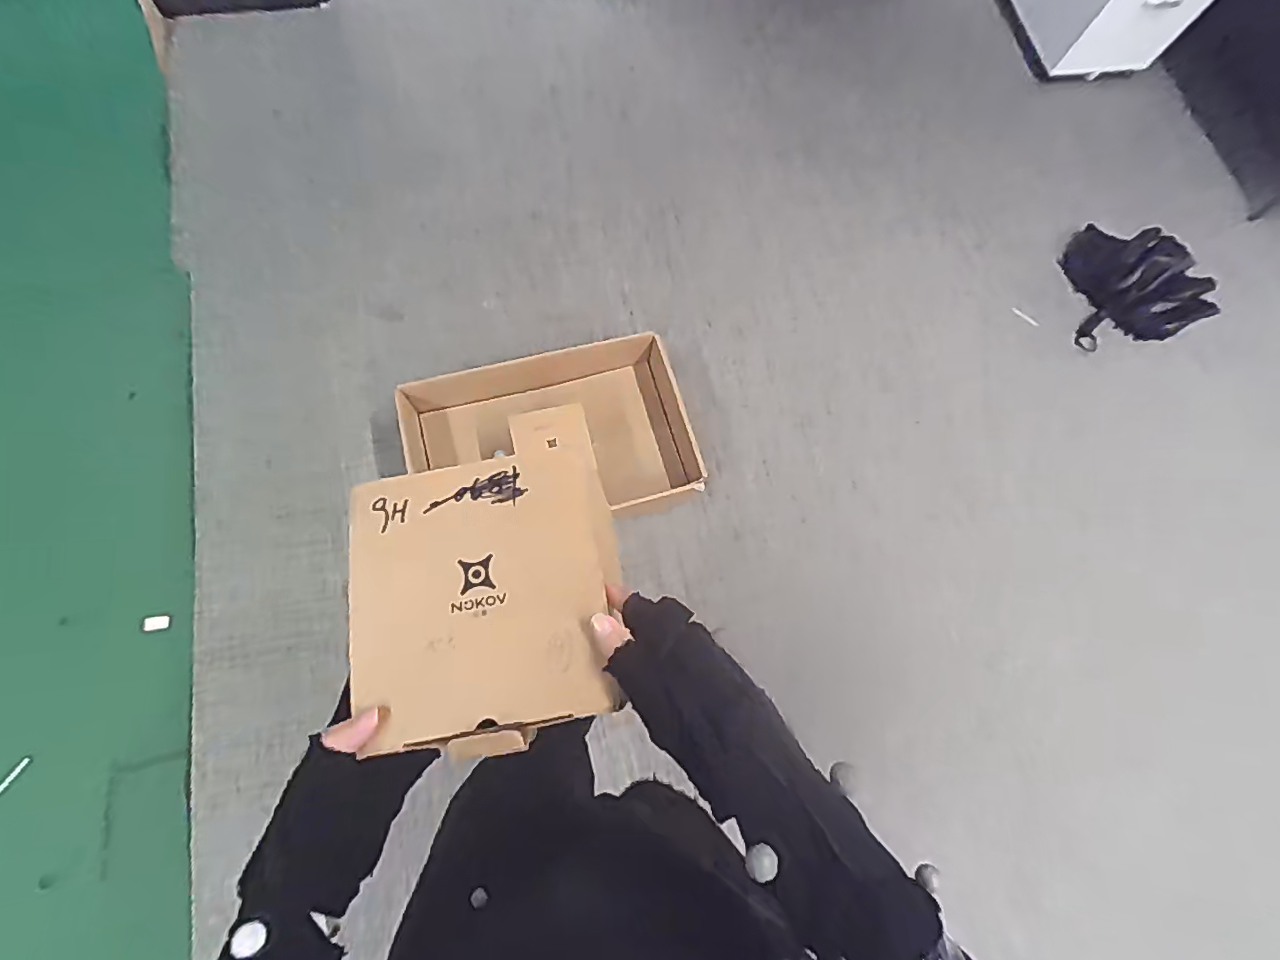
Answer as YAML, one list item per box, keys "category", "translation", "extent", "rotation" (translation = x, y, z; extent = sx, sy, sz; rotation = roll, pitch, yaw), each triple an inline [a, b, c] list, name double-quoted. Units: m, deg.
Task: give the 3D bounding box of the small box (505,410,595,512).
- category: "small box"
  translation: [-0.202, -0.034, 1.236]
  extent: [0.168, 0.176, 0.179]
  rotation: [-13, 73, -11]
